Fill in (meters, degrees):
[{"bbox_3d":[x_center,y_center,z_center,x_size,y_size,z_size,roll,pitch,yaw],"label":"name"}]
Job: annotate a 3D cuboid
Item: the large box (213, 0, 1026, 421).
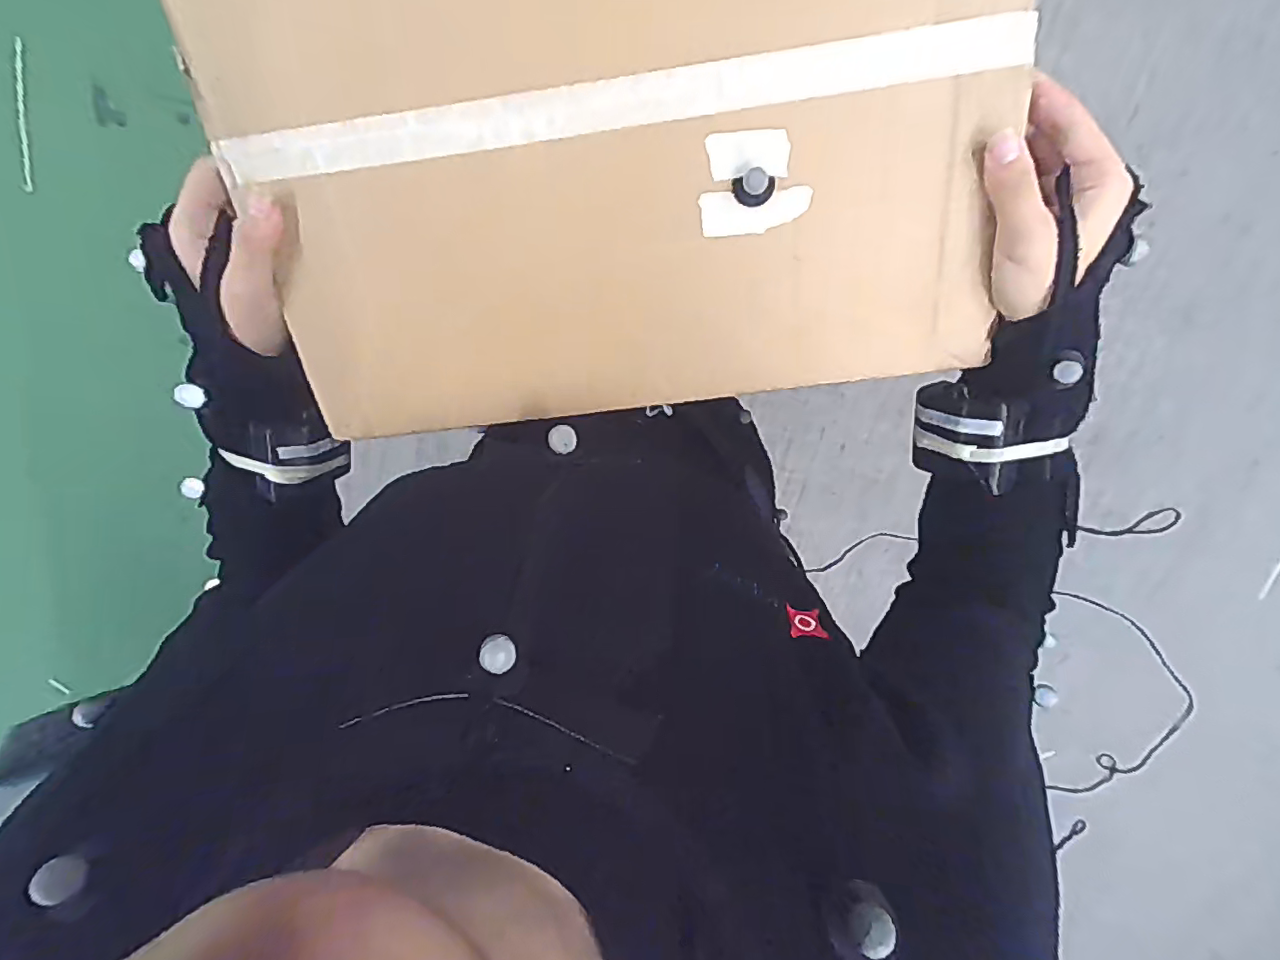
[{"bbox_3d":[-0.008,-0.259,0.417,0.408,0.320,0.320,-7,114,2],"label":"large box"}]
